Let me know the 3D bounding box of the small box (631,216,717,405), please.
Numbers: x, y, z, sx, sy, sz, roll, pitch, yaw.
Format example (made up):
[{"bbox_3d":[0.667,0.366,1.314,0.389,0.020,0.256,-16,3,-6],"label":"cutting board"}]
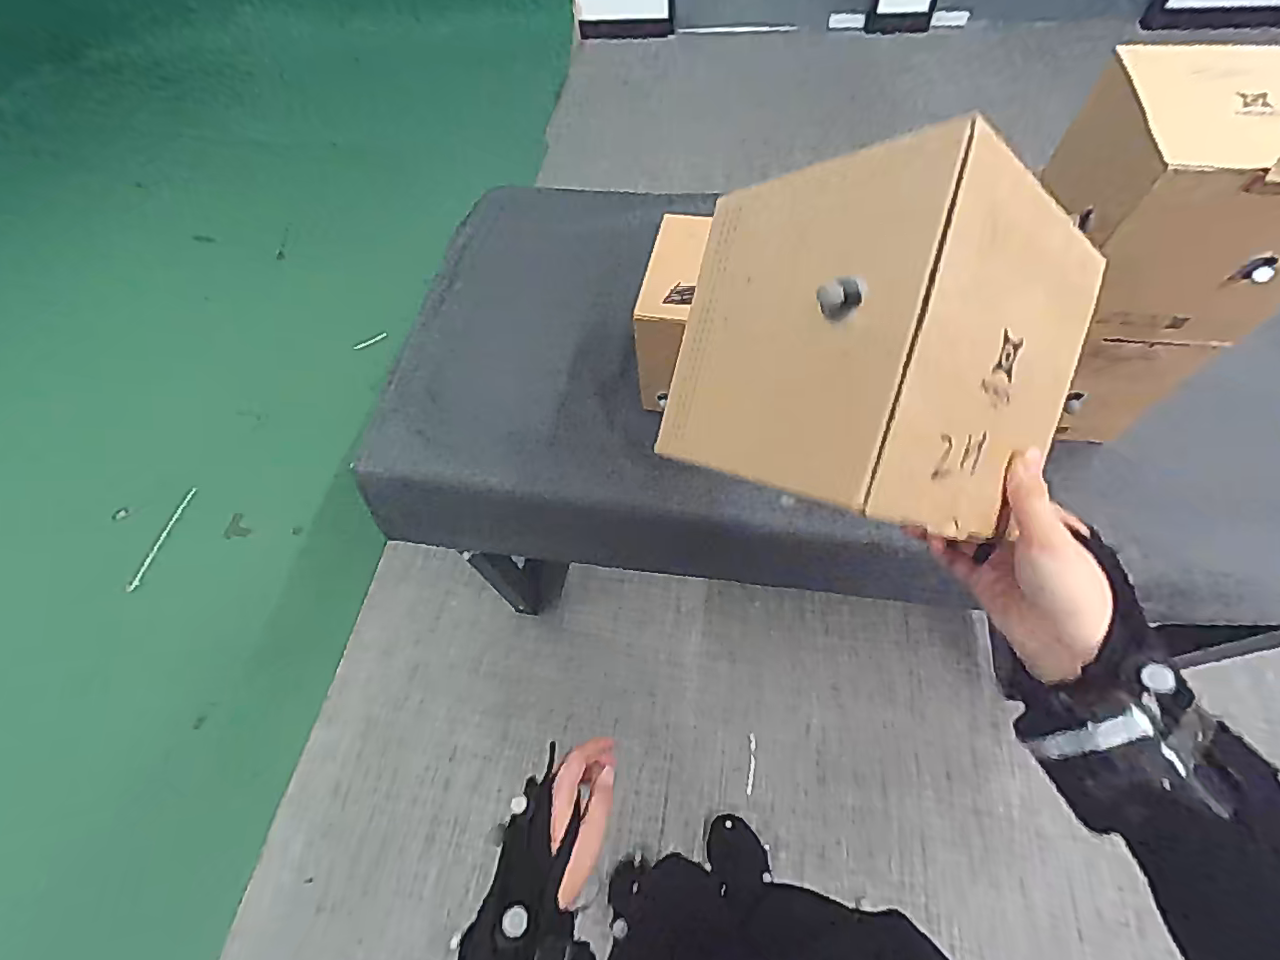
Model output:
[{"bbox_3d":[0.094,-0.196,0.676,0.168,0.176,0.179,9,61,10],"label":"small box"}]

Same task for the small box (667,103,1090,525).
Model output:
[{"bbox_3d":[0.139,-0.085,0.350,0.176,0.168,0.179,23,100,56],"label":"small box"}]

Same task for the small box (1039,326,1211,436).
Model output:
[{"bbox_3d":[0.475,-0.167,0.627,0.168,0.176,0.179,5,62,7],"label":"small box"}]

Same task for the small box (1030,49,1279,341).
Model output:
[{"bbox_3d":[0.467,-0.247,0.484,0.168,0.176,0.179,8,61,8],"label":"small box"}]
